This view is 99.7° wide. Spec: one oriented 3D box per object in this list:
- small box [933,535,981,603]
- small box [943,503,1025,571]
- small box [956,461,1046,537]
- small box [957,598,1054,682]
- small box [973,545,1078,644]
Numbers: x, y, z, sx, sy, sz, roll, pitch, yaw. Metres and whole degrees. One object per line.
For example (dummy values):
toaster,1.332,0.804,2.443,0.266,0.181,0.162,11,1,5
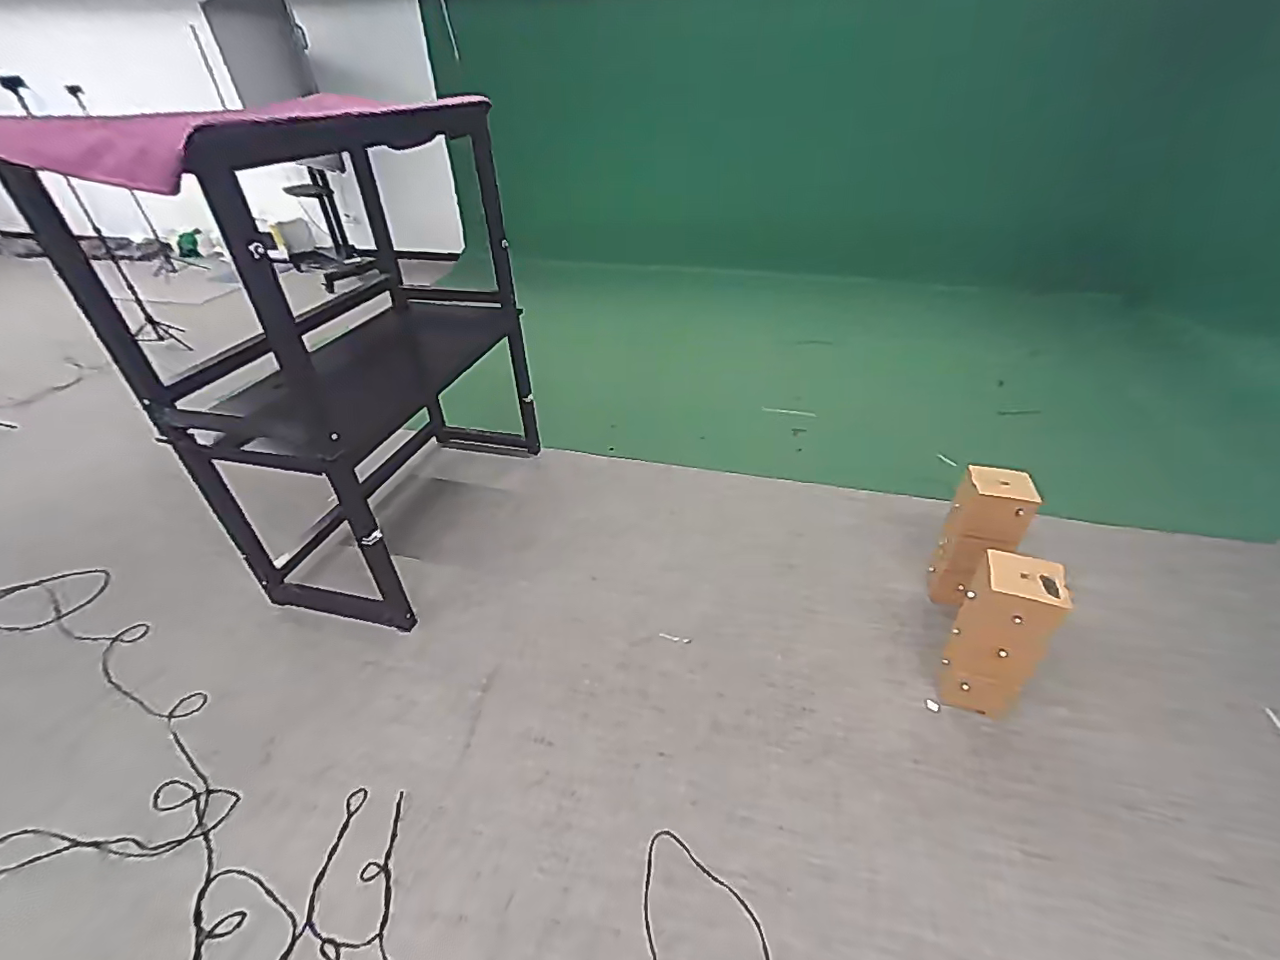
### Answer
small box,1.160,0.323,1.925,0.179,0.176,0.168,10,39,17
small box,1.152,0.194,1.826,0.179,0.176,0.168,7,37,14
small box,1.144,0.063,1.726,0.179,0.176,0.168,9,36,14
small box,1.012,0.435,1.513,0.179,0.176,0.168,12,39,19
small box,0.998,0.302,1.417,0.179,0.176,0.168,13,39,21
